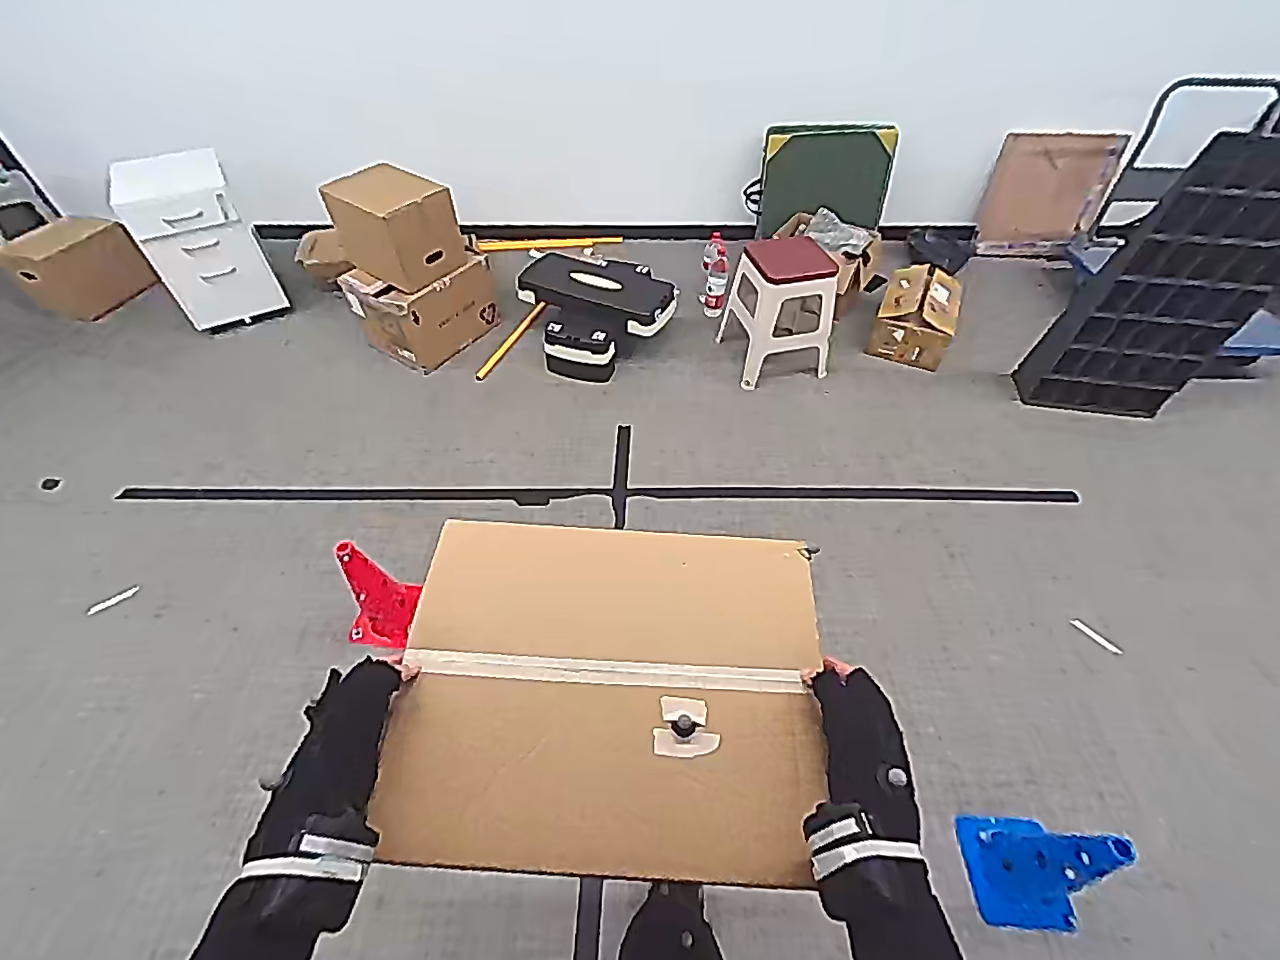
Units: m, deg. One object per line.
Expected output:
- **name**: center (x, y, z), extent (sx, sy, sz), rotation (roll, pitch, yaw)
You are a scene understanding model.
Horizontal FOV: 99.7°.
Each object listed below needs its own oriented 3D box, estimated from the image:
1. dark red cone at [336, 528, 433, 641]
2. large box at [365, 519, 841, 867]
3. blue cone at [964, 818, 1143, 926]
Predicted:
- **dark red cone**: center (-0.720, 0.259, 1.446), extent (0.201, 0.394, 0.202), rotation (6, 50, 4)
- **large box**: center (-0.030, 0.266, 0.650), extent (0.408, 0.320, 0.320), rotation (4, 55, 0)
- **blue cone**: center (0.830, 0.752, 1.067), extent (0.192, 0.380, 0.193), rotation (4, 50, 2)
